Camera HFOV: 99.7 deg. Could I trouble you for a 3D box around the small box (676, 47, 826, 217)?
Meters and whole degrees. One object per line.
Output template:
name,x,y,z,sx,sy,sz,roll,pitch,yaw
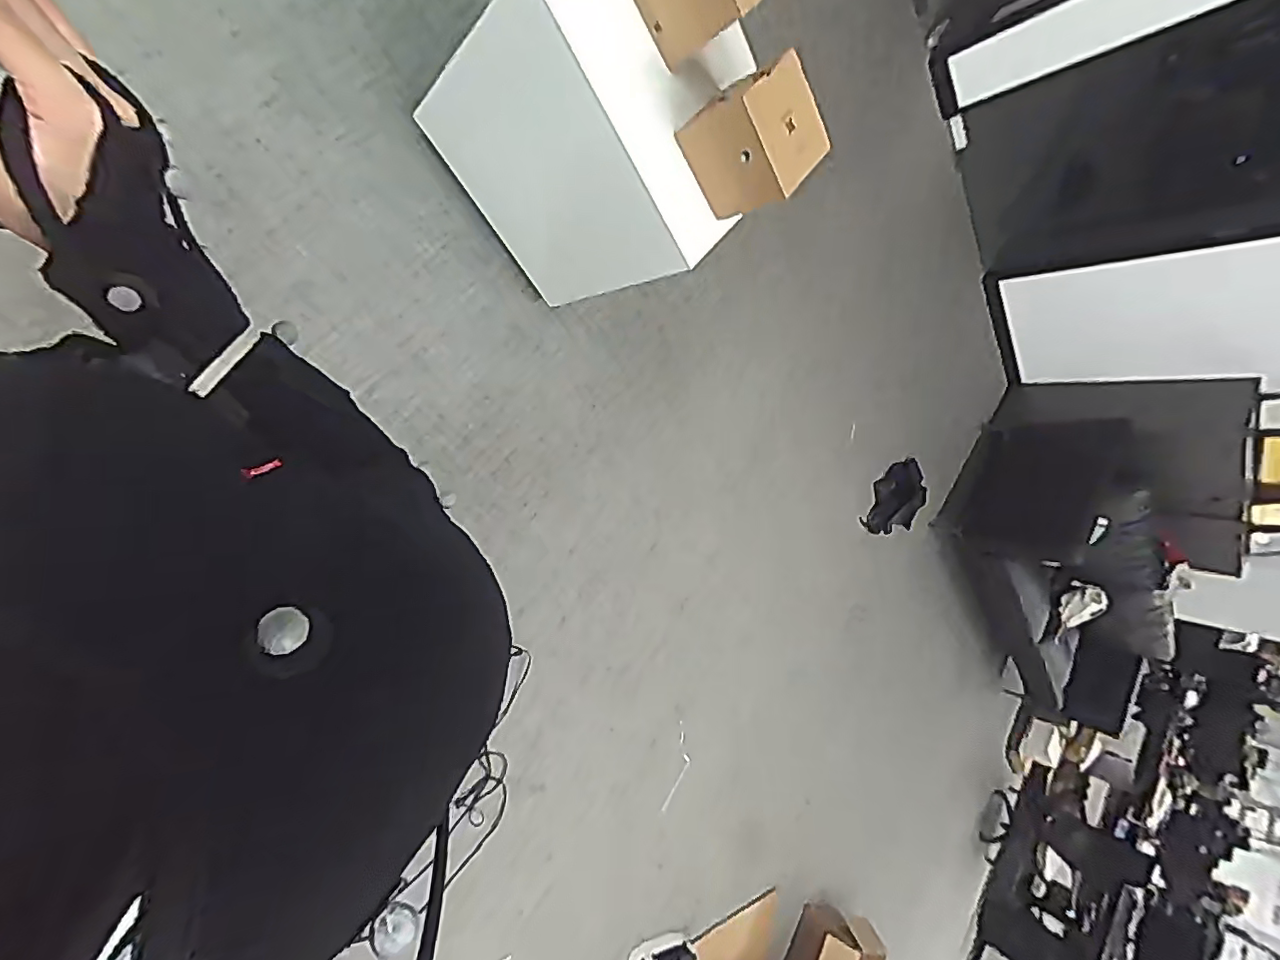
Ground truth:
small box,0.196,-0.610,0.969,0.168,0.176,0.179,-52,124,-19
